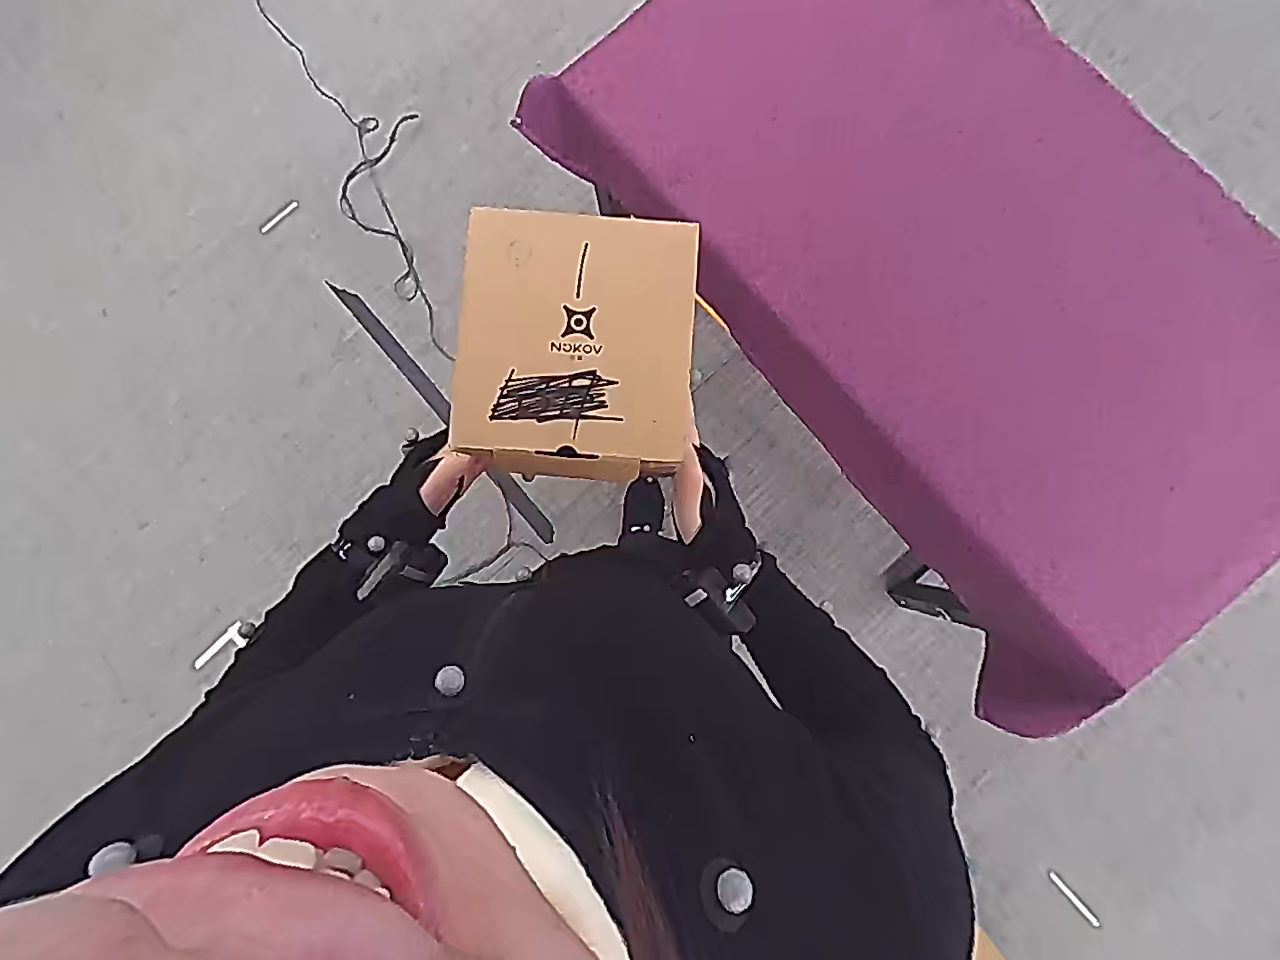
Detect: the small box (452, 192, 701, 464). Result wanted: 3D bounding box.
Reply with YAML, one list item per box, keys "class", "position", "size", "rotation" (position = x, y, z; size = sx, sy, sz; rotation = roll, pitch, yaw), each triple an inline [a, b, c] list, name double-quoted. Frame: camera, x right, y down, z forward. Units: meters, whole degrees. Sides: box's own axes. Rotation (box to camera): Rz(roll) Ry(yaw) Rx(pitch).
- class: "small box"
  position: [-0.045, -0.108, 0.457]
  size: [0.168, 0.176, 0.179]
  rotation: [4, 87, -1]
